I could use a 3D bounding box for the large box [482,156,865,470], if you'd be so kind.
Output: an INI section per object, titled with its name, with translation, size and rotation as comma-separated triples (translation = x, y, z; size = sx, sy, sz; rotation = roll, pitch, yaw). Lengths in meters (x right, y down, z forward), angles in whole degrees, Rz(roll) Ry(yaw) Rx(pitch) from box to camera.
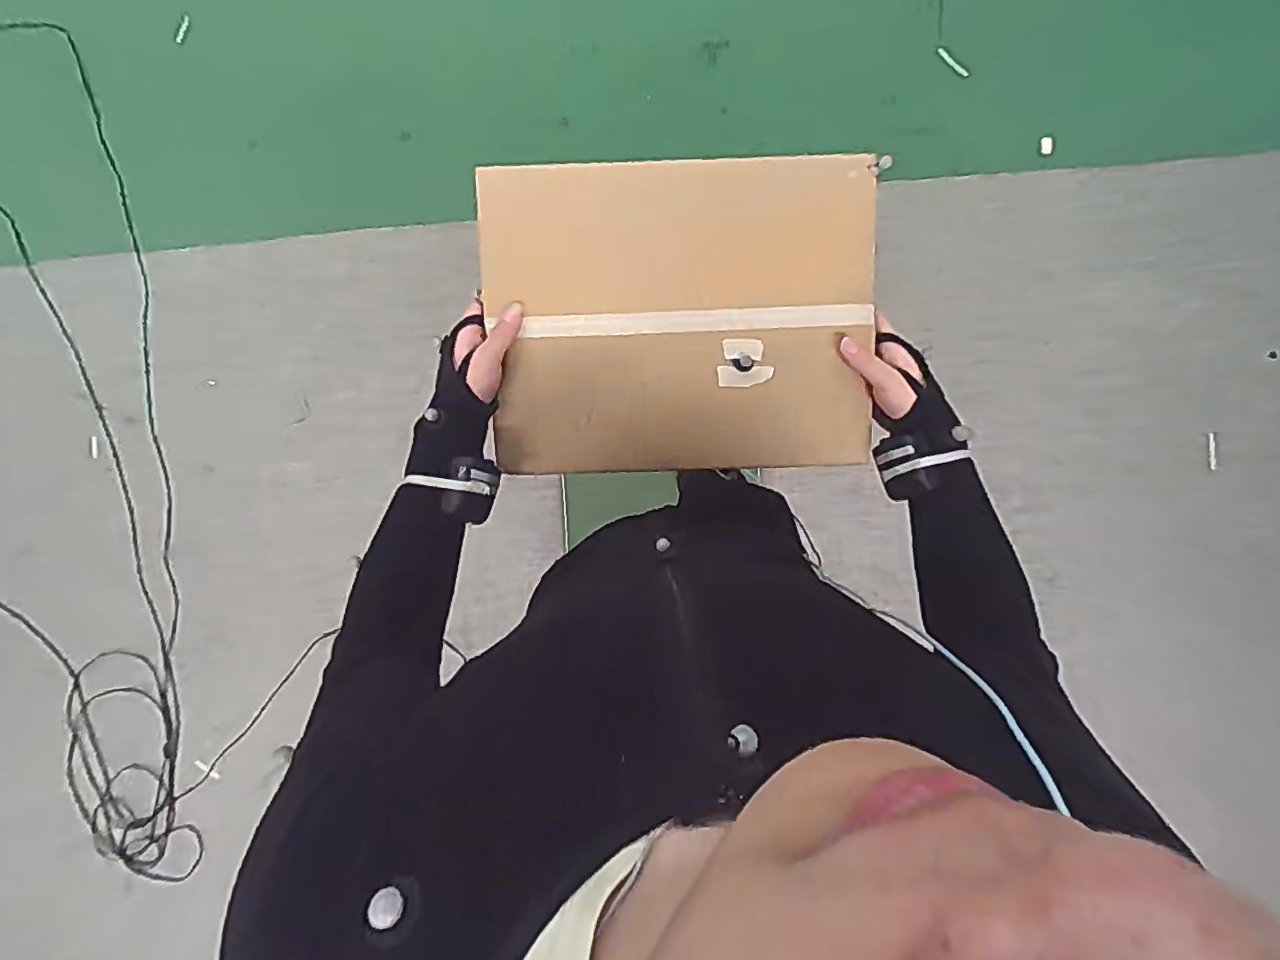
[large box]
translation = 0.039, -0.193, 0.726
size = 0.408, 0.320, 0.320
rotation = -2, 99, 0
